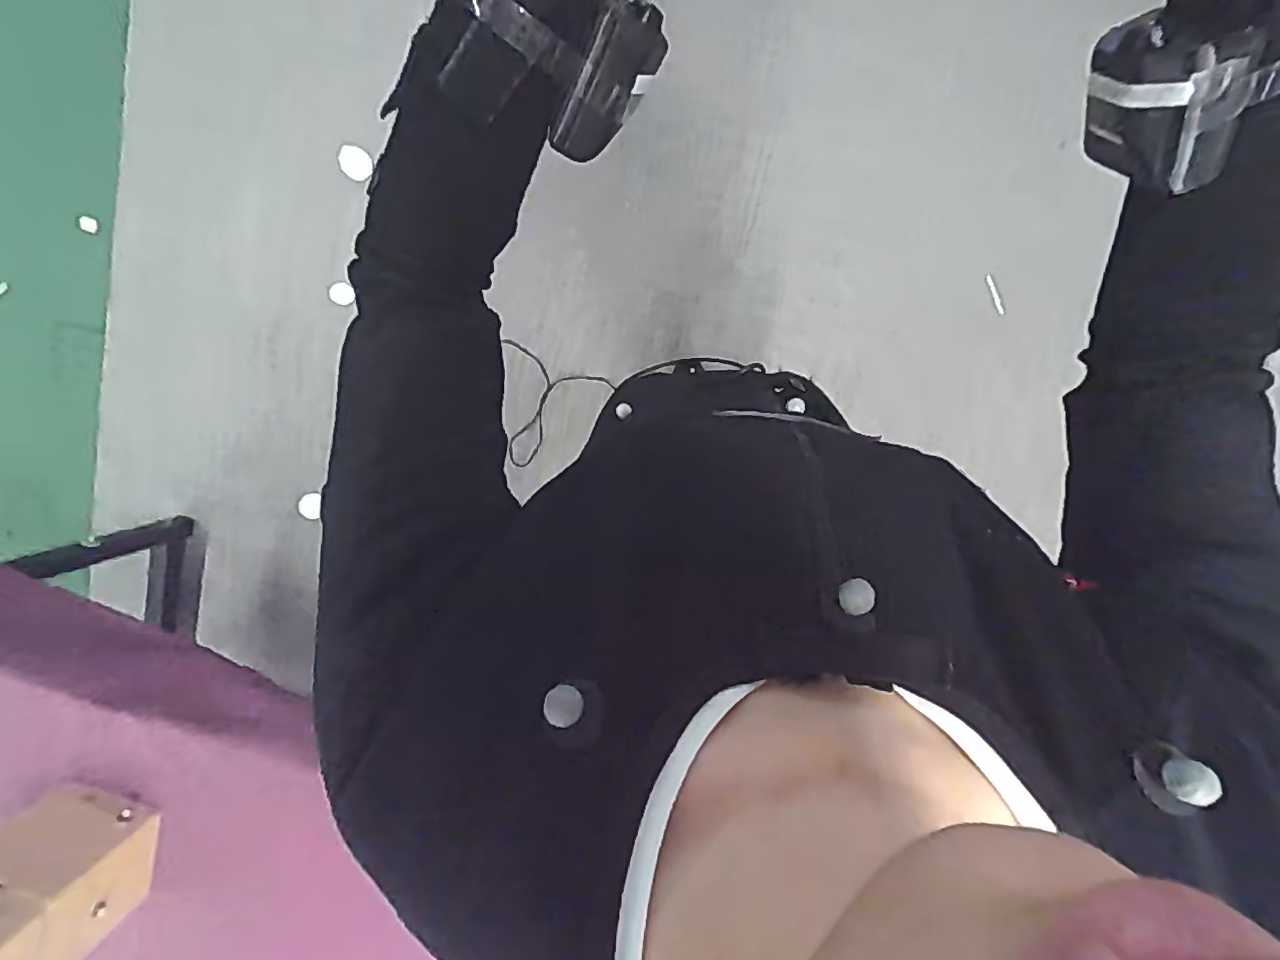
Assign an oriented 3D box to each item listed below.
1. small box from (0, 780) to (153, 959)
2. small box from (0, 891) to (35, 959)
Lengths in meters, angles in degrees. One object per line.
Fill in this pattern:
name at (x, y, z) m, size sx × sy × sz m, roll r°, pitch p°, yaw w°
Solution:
small box at (-0.892, 0.598, 0.815) m, size 0.168 × 0.176 × 0.179 m, roll 18°, pitch 100°, yaw 1°
small box at (-0.905, 0.631, 0.654) m, size 0.168 × 0.176 × 0.179 m, roll 17°, pitch 99°, yaw 1°
